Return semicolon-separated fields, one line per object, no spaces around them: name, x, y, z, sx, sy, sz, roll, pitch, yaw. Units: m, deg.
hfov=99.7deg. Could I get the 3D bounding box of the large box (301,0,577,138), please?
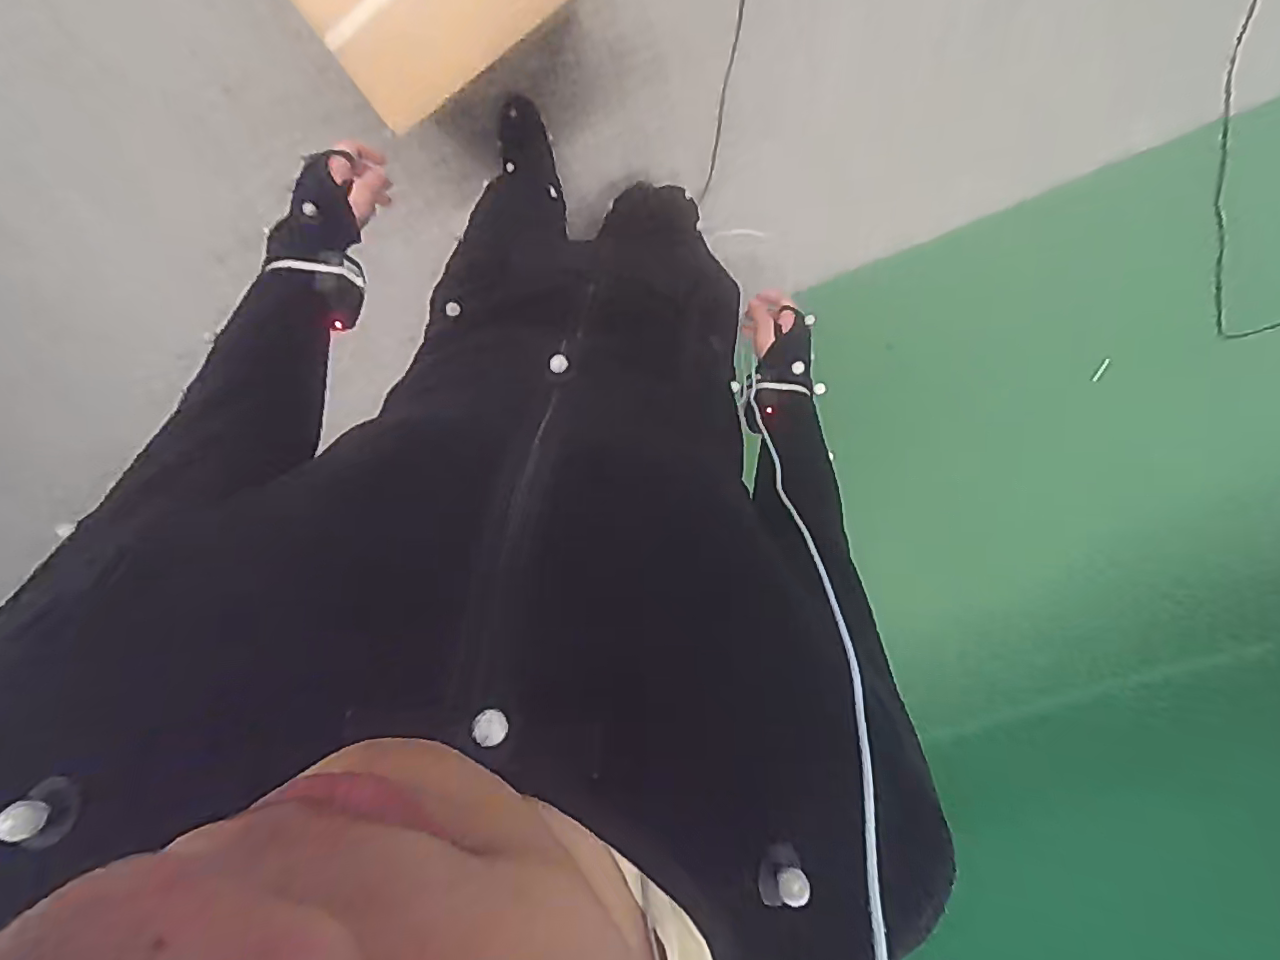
large box;-0.359;-0.917;0.986;0.408;0.320;0.320;-27;126;15
